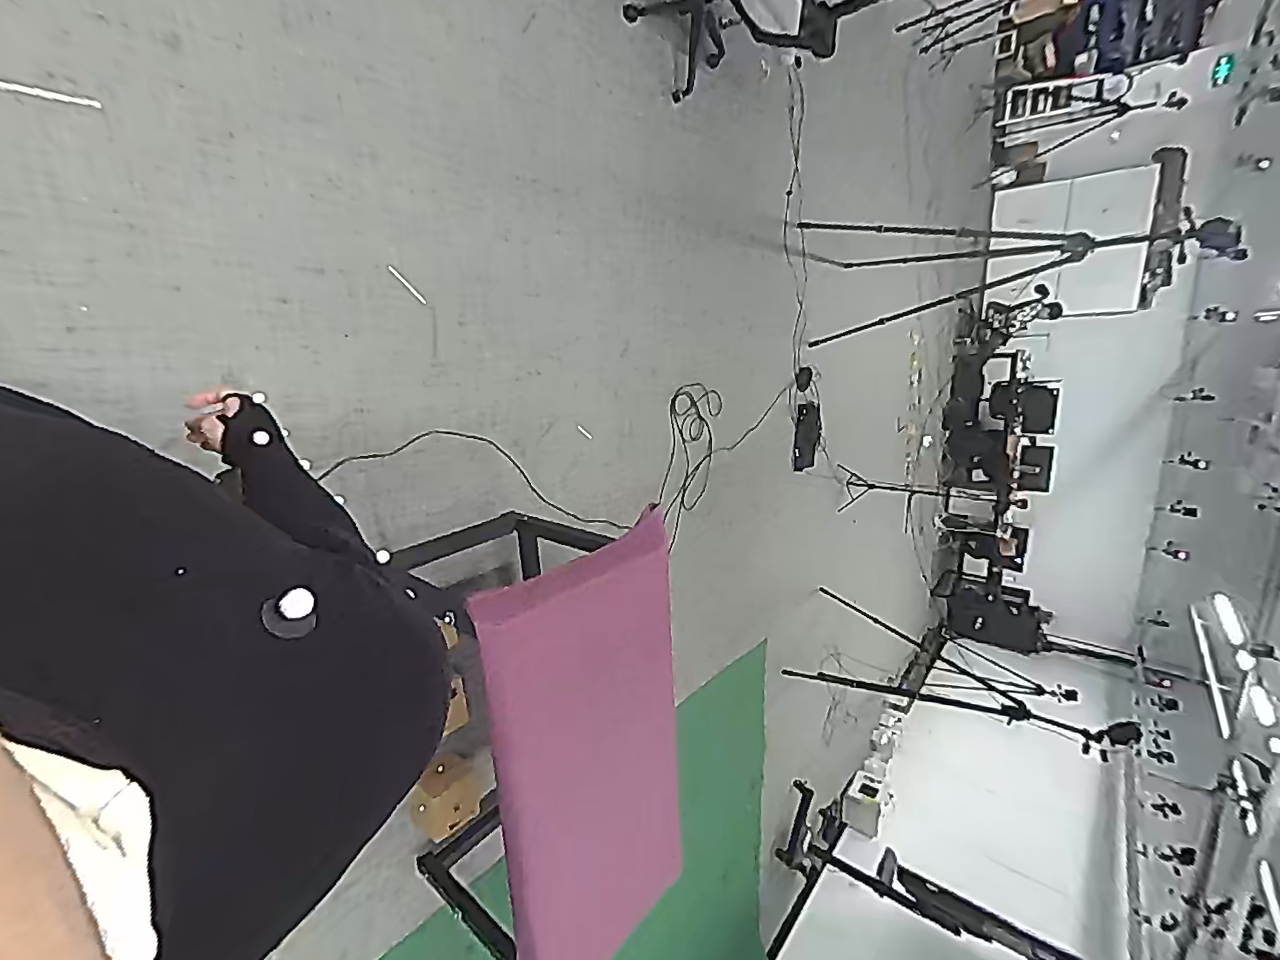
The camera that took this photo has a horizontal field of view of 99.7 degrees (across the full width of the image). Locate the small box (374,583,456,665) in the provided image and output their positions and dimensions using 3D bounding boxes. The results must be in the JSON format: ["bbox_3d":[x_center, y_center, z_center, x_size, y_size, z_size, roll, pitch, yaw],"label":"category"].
[{"bbox_3d":[-0.714,0.447,1.704,0.179,0.176,0.168,-25,116,-46],"label":"small box"}]

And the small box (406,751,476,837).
[{"bbox_3d":[-0.686,1.066,1.861,0.168,0.176,0.179,-14,108,-48],"label":"small box"}]
